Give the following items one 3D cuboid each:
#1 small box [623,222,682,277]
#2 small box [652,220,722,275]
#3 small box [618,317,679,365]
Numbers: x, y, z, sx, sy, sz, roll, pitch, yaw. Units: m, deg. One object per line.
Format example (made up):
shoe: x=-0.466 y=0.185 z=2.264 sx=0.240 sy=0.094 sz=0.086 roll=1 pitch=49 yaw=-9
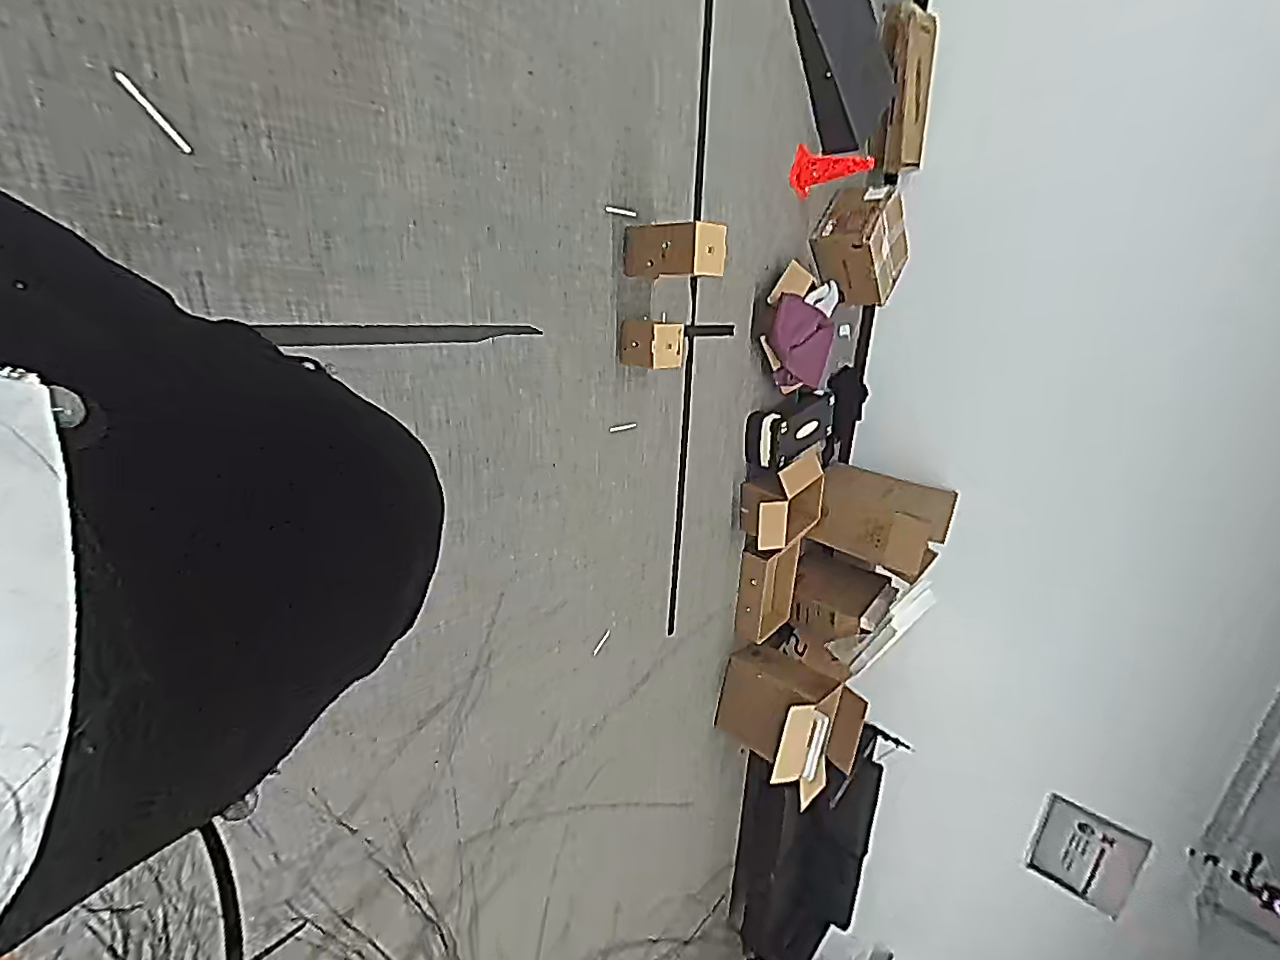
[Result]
small box: x=0.048 y=-0.849 z=1.999 sx=0.168 sy=0.176 sz=0.179 roll=-21 pitch=119 yaw=-44
small box: x=0.164 y=-0.809 z=1.892 sx=0.179 sy=0.176 sz=0.168 roll=-19 pitch=117 yaw=-43
small box: x=0.029 y=-0.541 z=2.107 sx=0.179 sy=0.176 sz=0.168 roll=-16 pitch=117 yaw=-44
